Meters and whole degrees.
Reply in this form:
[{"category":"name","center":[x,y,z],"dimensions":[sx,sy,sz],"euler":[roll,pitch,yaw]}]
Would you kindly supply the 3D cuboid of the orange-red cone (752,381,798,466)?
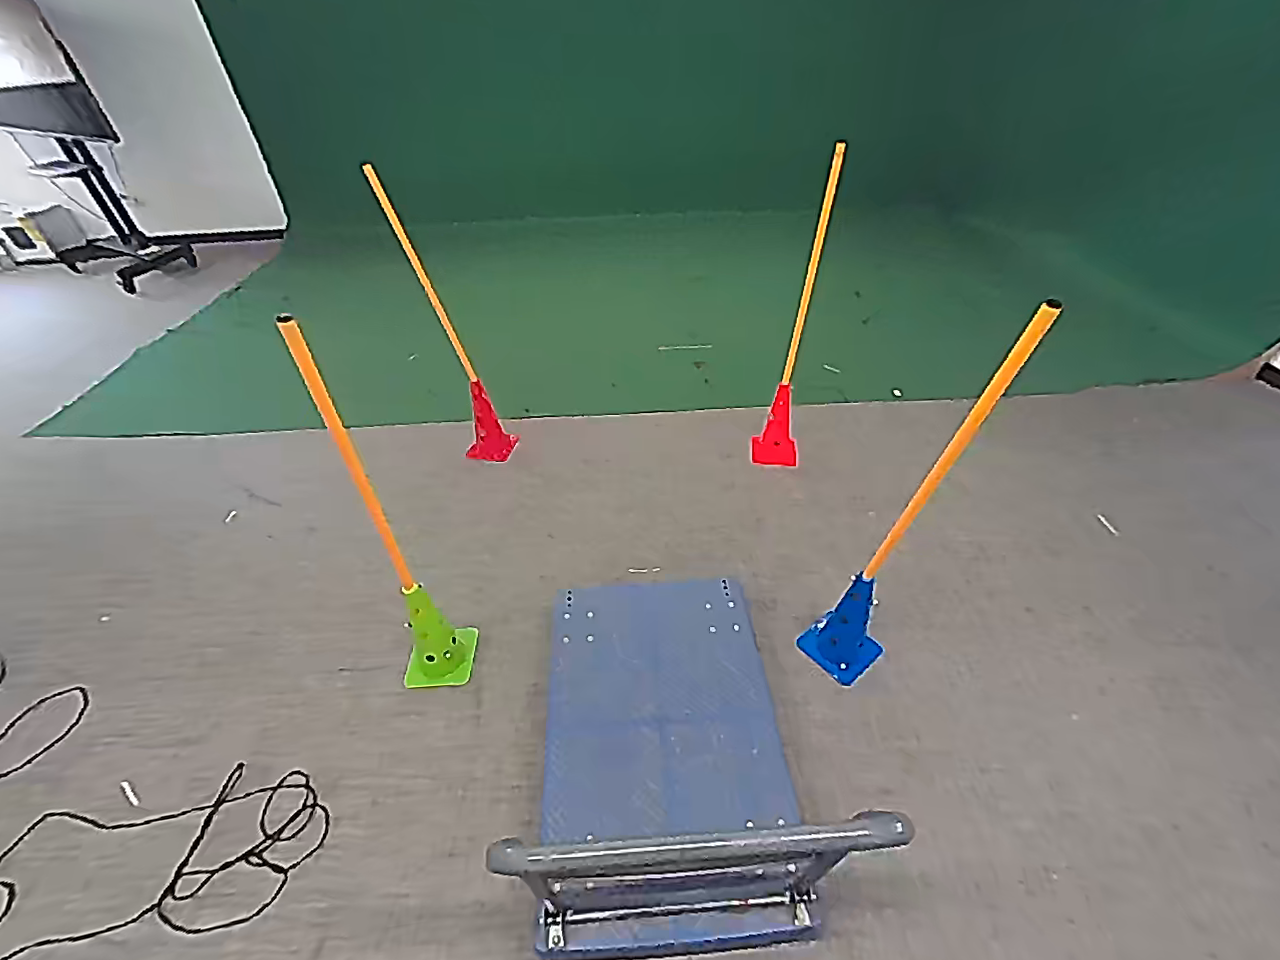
[{"category":"orange-red cone","center":[0.594,-0.258,2.309],"dimensions":[0.198,0.360,0.199],"euler":[4,43,9]}]
